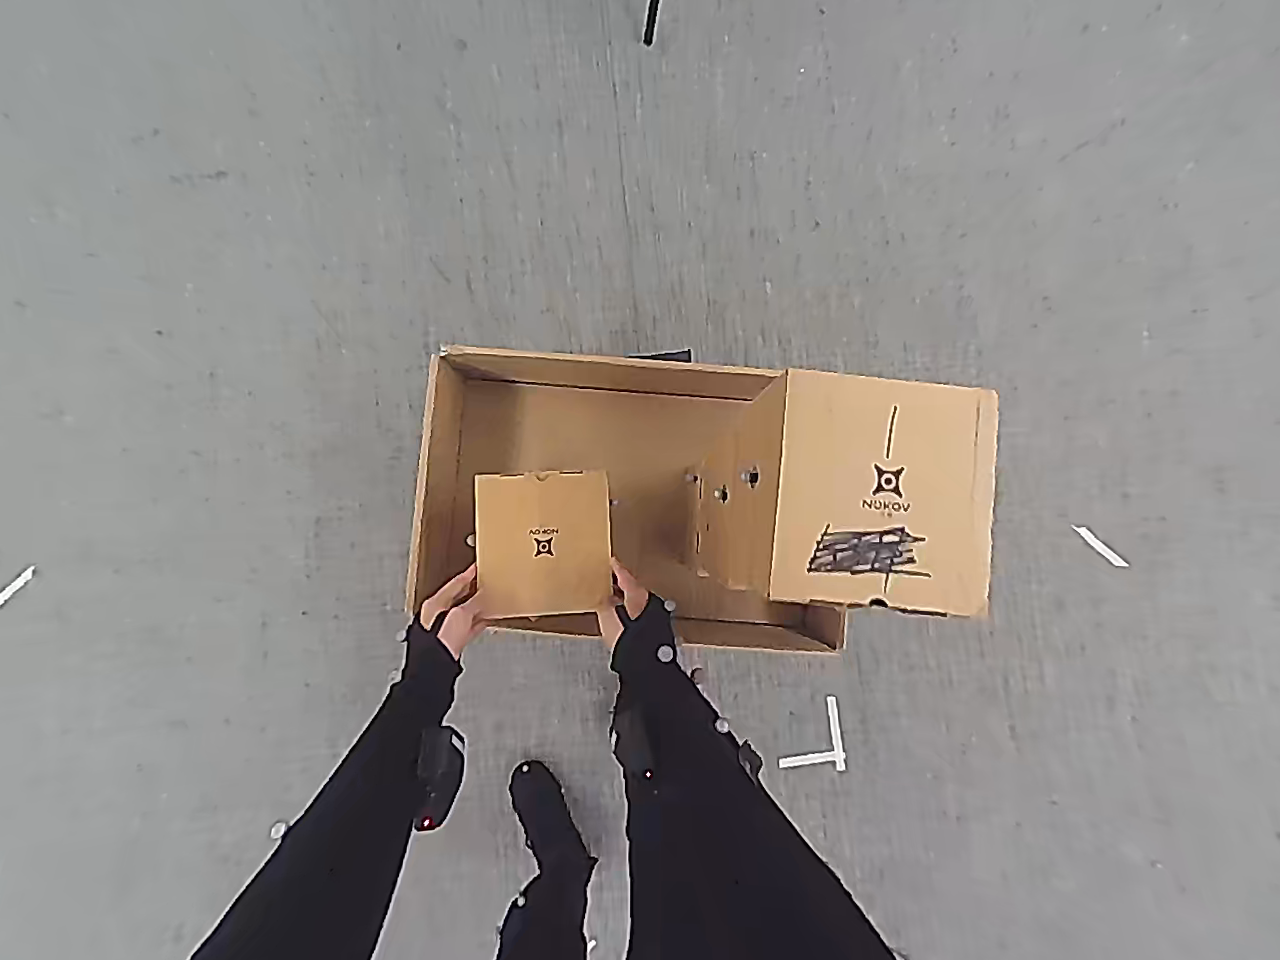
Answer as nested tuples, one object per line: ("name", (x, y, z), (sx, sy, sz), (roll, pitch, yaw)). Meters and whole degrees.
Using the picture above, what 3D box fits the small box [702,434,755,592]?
("small box", (0.175, 0.041, 0.639), (0.179, 0.176, 0.168), (2, 86, -2))

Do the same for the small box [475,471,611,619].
("small box", (-0.124, 0.086, 0.738), (0.168, 0.176, 0.179), (-2, 83, -6))

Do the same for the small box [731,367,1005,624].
("small box", (0.179, 0.015, 0.476), (0.168, 0.176, 0.179), (6, 86, -1))
